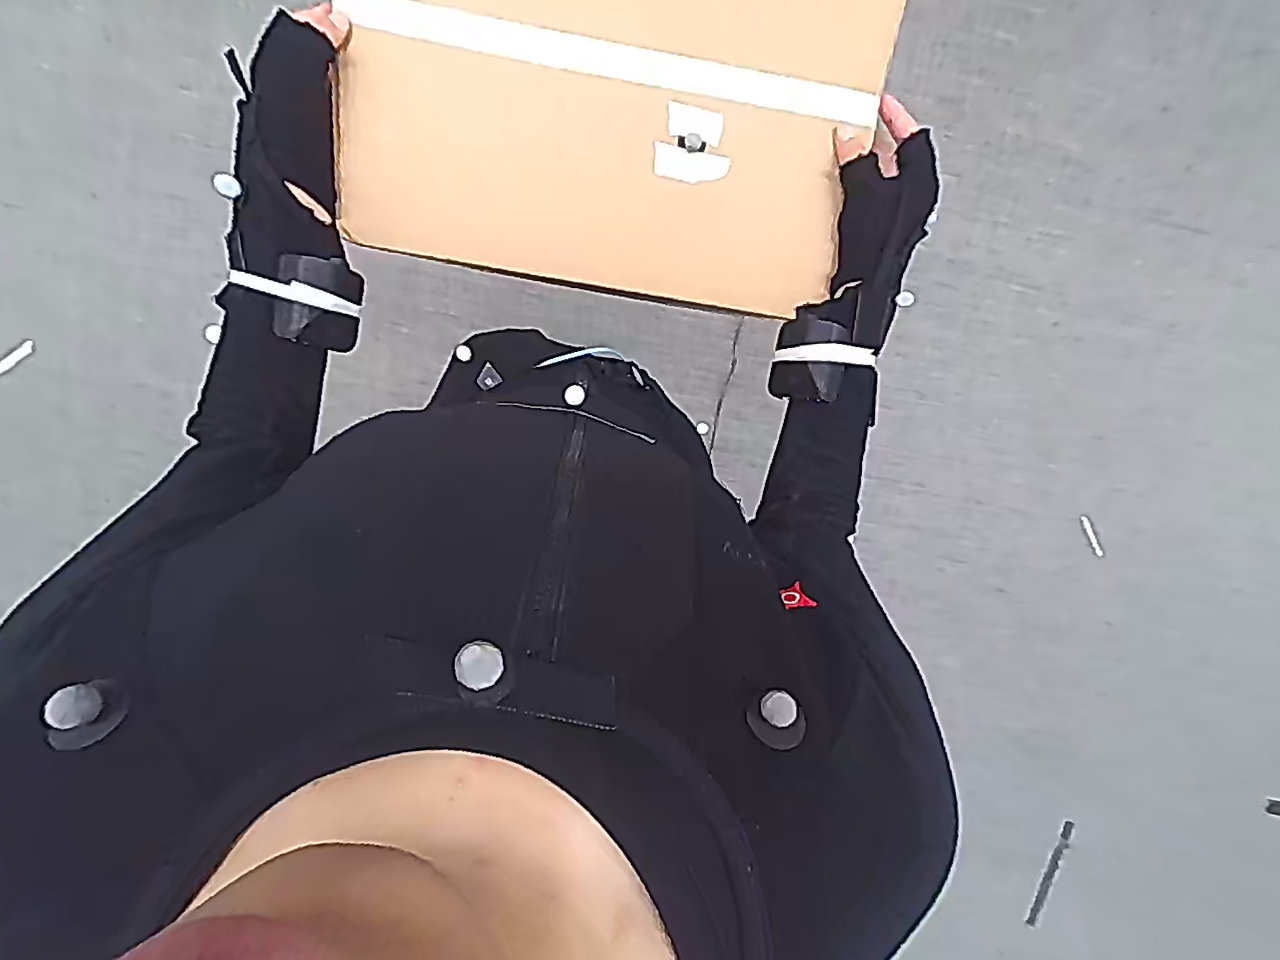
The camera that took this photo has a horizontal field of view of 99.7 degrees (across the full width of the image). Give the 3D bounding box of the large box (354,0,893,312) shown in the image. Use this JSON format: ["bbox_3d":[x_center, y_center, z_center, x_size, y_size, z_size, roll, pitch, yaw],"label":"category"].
[{"bbox_3d":[-0.023,-0.364,0.558,0.408,0.320,0.320,8,109,-5],"label":"large box"}]
